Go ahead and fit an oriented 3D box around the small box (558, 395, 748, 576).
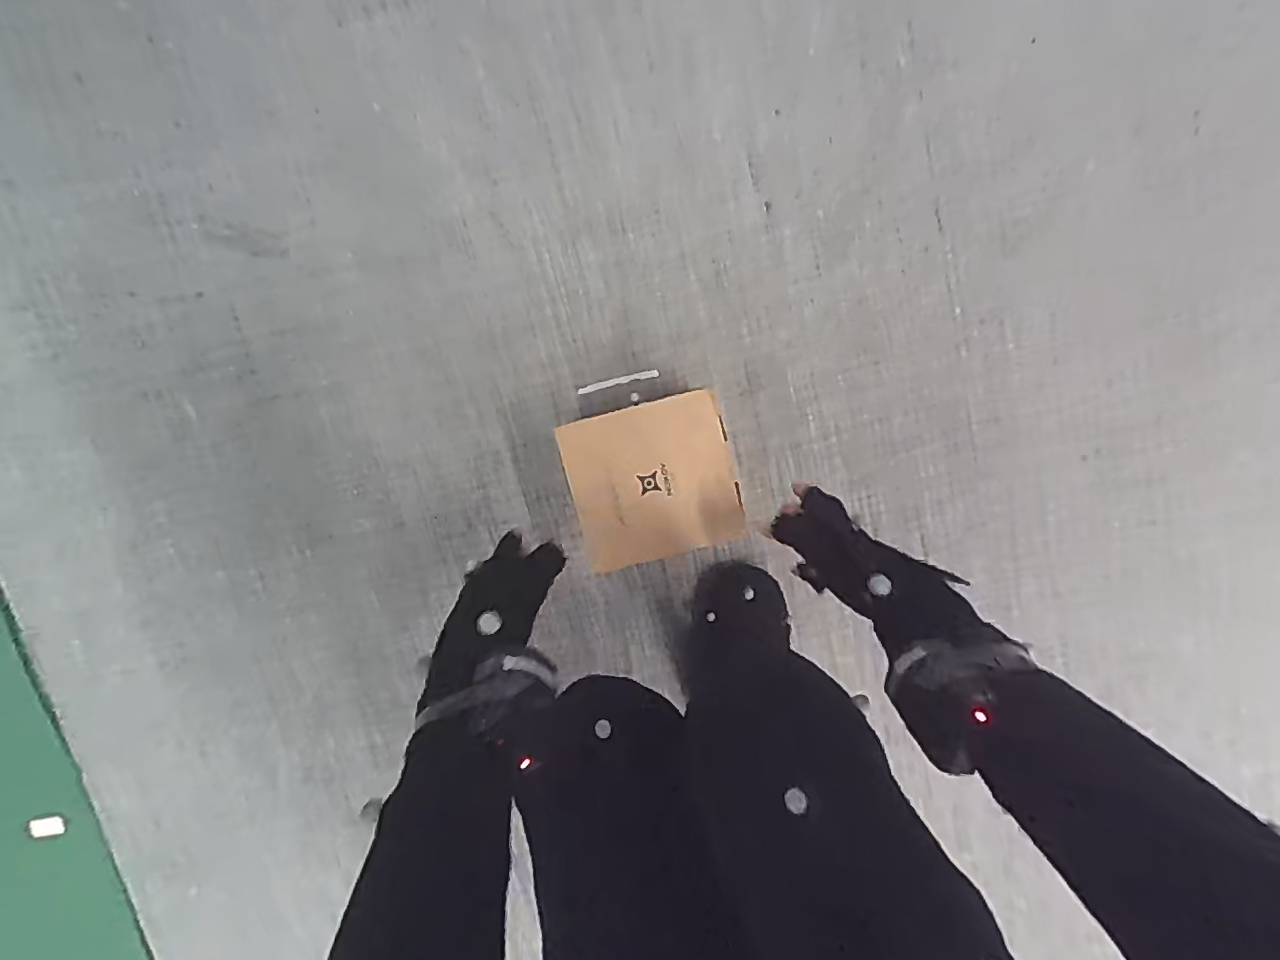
[{"bbox_3d":[0.015,-0.004,0.660,0.179,0.176,0.168,-15,97,3],"label":"small box"}]
